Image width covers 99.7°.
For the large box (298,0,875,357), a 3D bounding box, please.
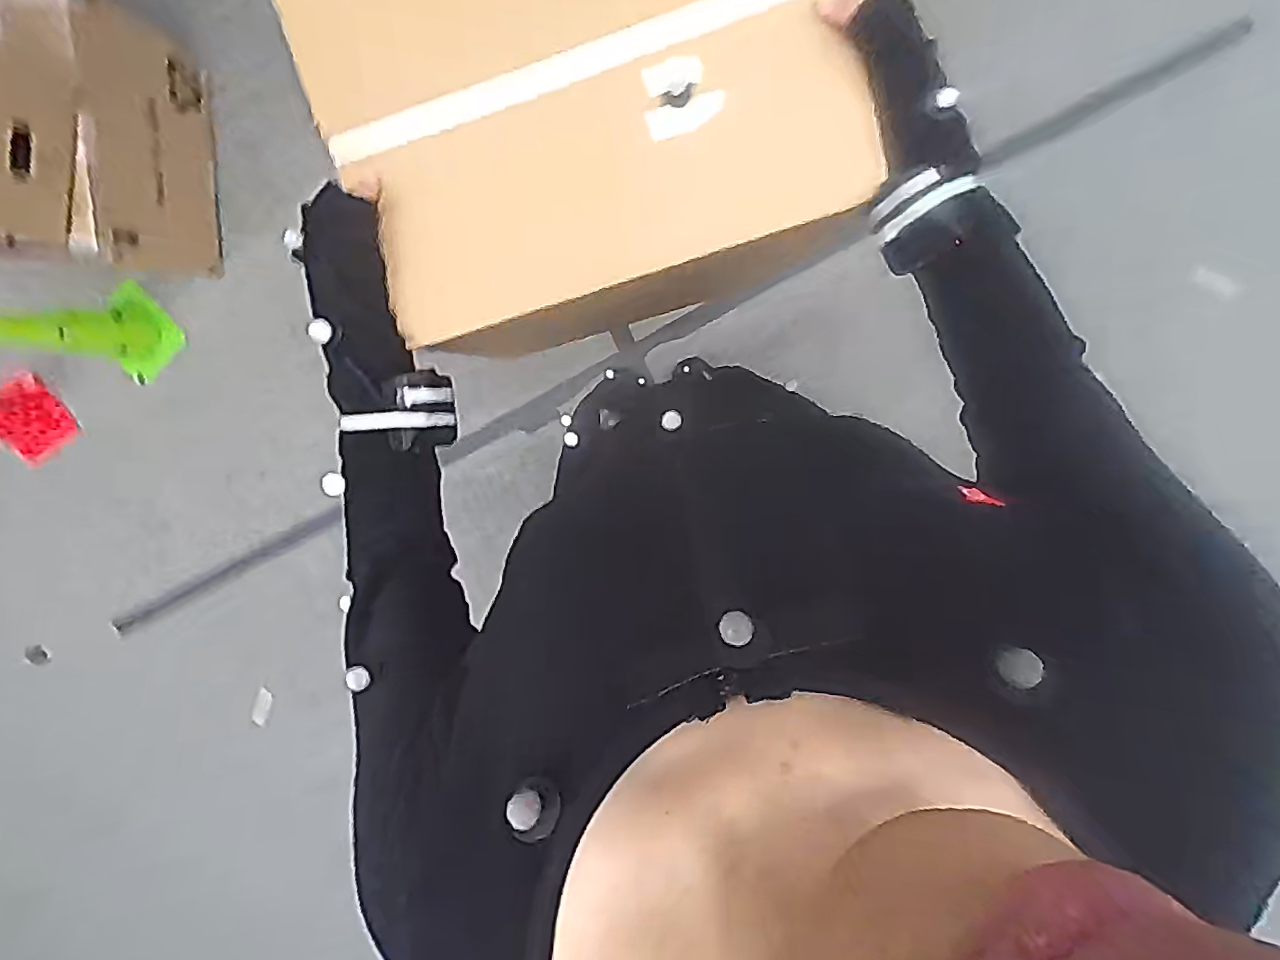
[{"bbox_3d":[-0.040,-0.344,0.568,0.408,0.320,0.320,-16,99,4],"label":"large box"}]
